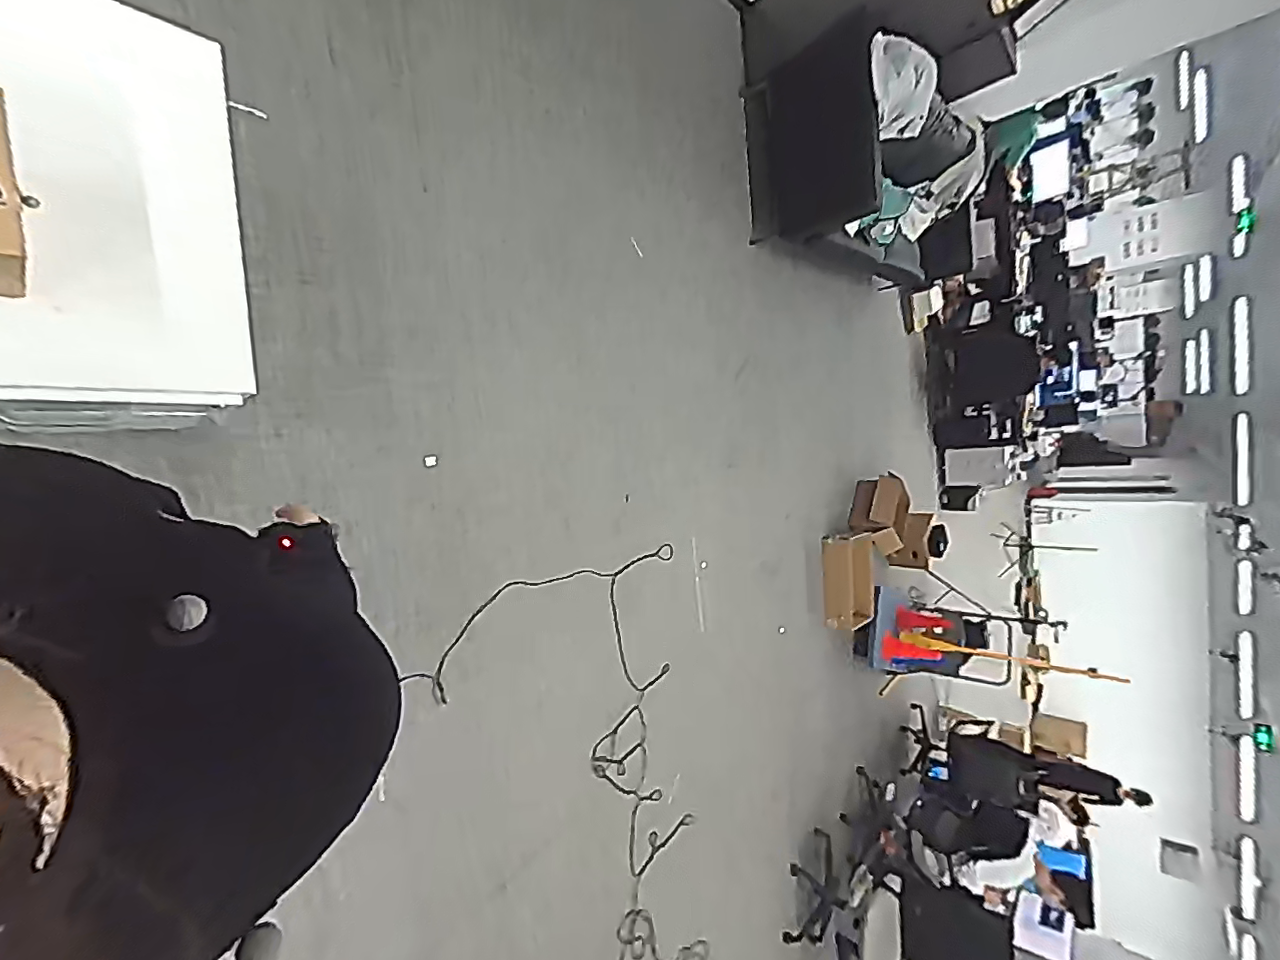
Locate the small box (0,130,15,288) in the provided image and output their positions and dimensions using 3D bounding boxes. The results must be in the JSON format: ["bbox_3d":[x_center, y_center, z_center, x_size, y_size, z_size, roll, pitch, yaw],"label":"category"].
[{"bbox_3d":[-0.732,-0.292,0.510,0.179,0.176,0.168,-7,93,-49],"label":"small box"}]
